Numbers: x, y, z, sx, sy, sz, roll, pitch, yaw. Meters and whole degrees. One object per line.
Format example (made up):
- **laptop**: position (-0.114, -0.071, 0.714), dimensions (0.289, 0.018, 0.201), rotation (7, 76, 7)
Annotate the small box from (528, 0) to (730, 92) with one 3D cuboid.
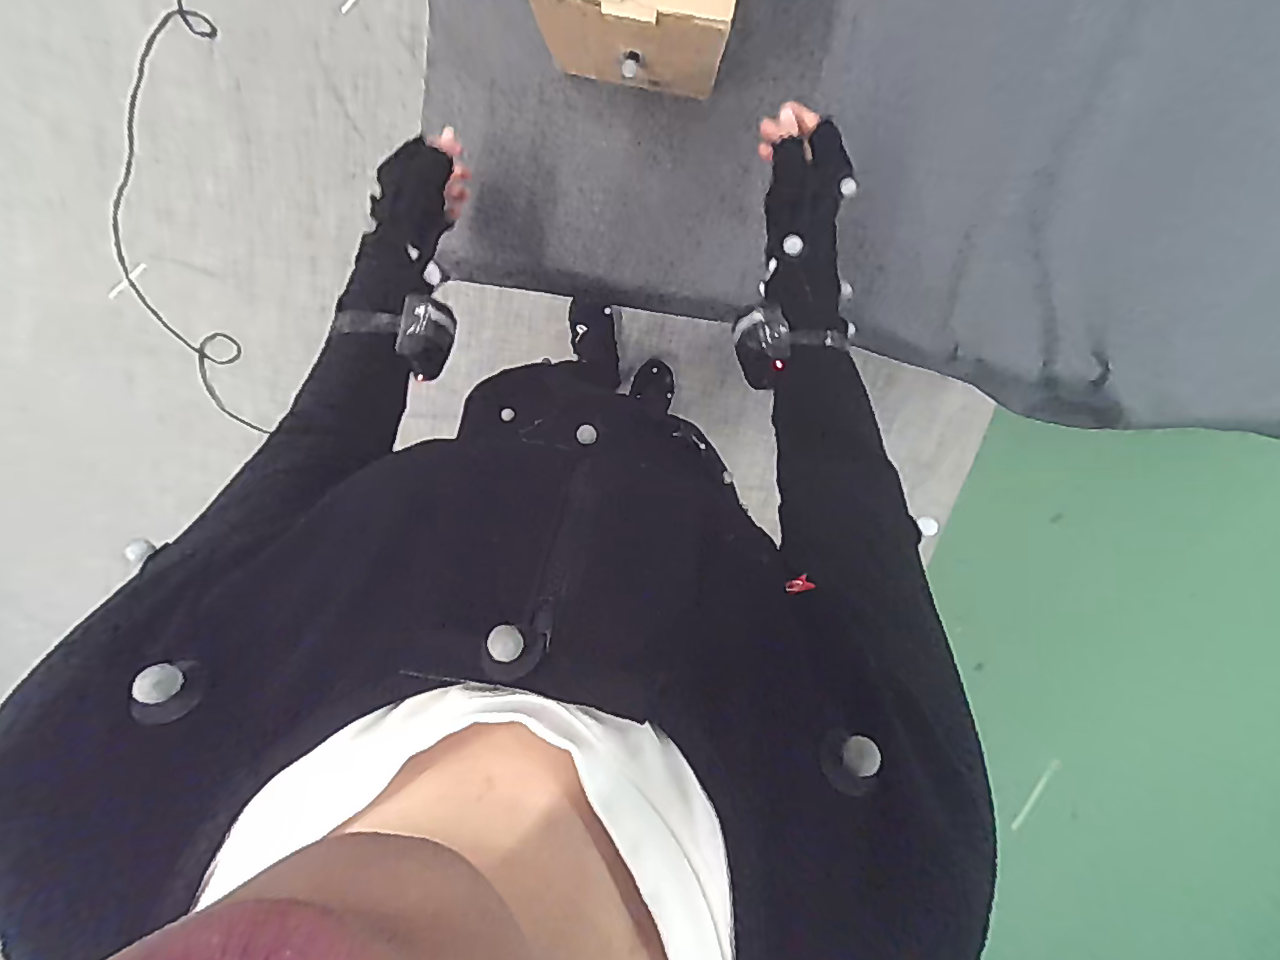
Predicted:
- **small box**: position (0.006, -0.479, 0.481), dimensions (0.168, 0.176, 0.179), rotation (9, 109, -1)
